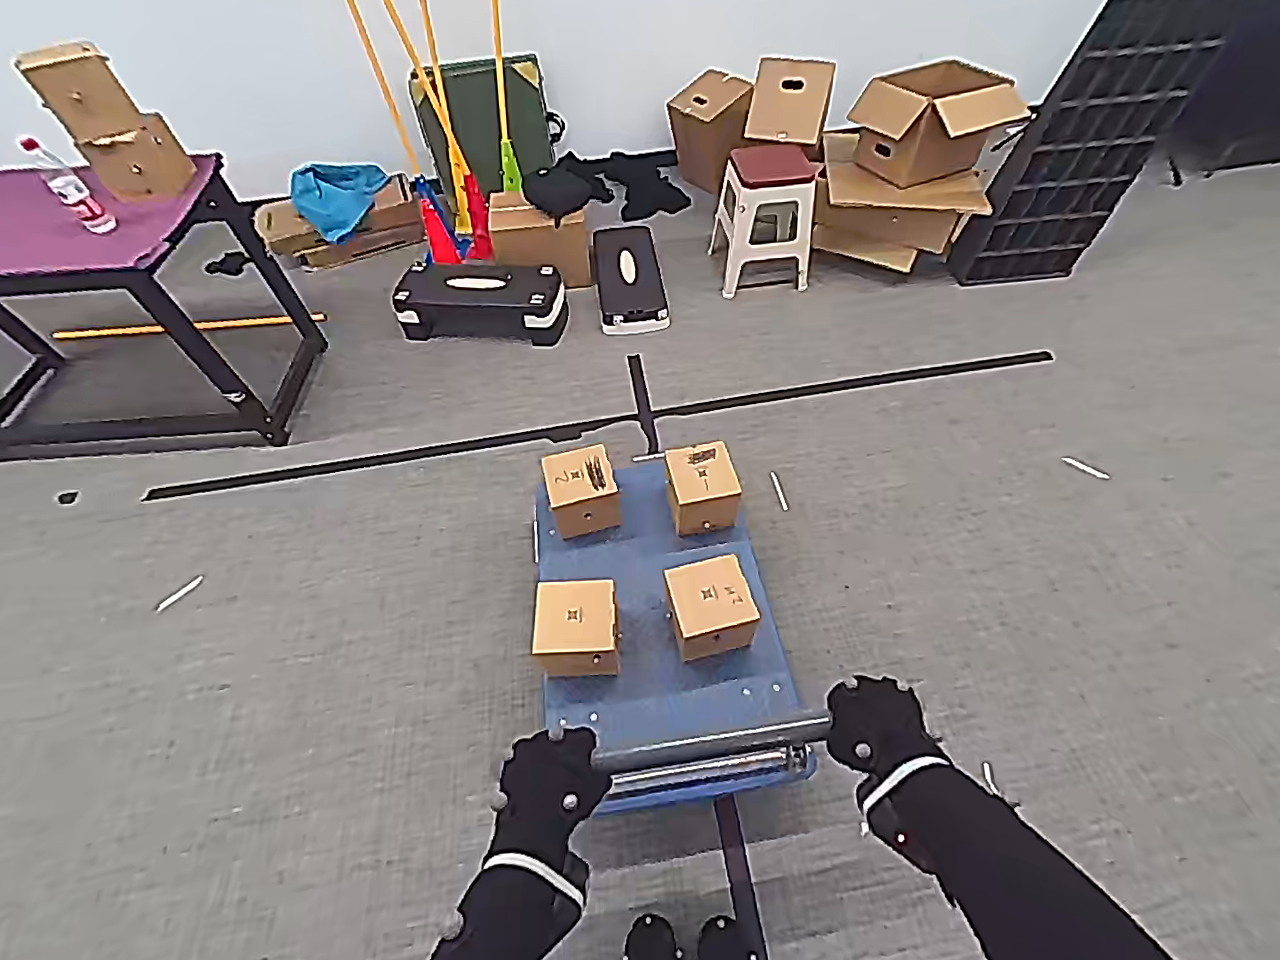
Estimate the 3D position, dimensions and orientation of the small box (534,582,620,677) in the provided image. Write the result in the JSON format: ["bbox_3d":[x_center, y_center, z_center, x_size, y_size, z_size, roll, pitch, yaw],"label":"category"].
[{"bbox_3d":[-0.139,0.351,1.257,0.179,0.176,0.168,-2,54,-1],"label":"small box"}]

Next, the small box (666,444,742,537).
[{"bbox_3d":[0.165,0.031,1.472,0.168,0.176,0.179,-11,56,-5],"label":"small box"}]

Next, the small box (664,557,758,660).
[{"bbox_3d":[0.162,0.307,1.274,0.179,0.176,0.168,-12,55,-6],"label":"small box"}]
